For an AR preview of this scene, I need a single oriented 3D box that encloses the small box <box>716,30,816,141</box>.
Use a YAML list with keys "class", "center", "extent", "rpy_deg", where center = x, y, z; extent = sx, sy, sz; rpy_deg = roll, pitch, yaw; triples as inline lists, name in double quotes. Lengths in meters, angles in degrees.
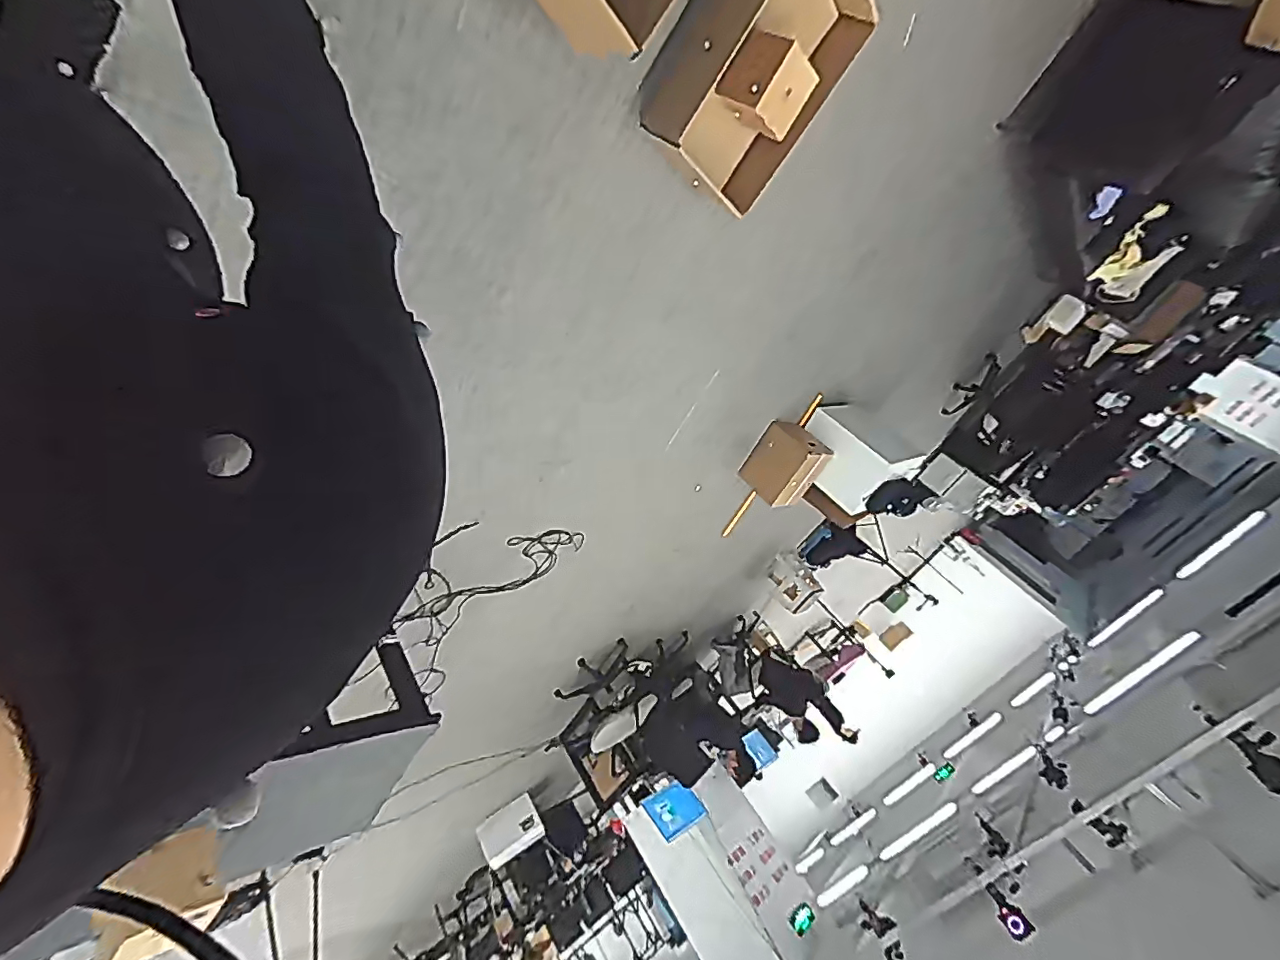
- class: "small box"
  center: [0.345, -1.094, 1.498]
  extent: [0.168, 0.176, 0.179]
  rpy_deg: [4, 127, -51]
